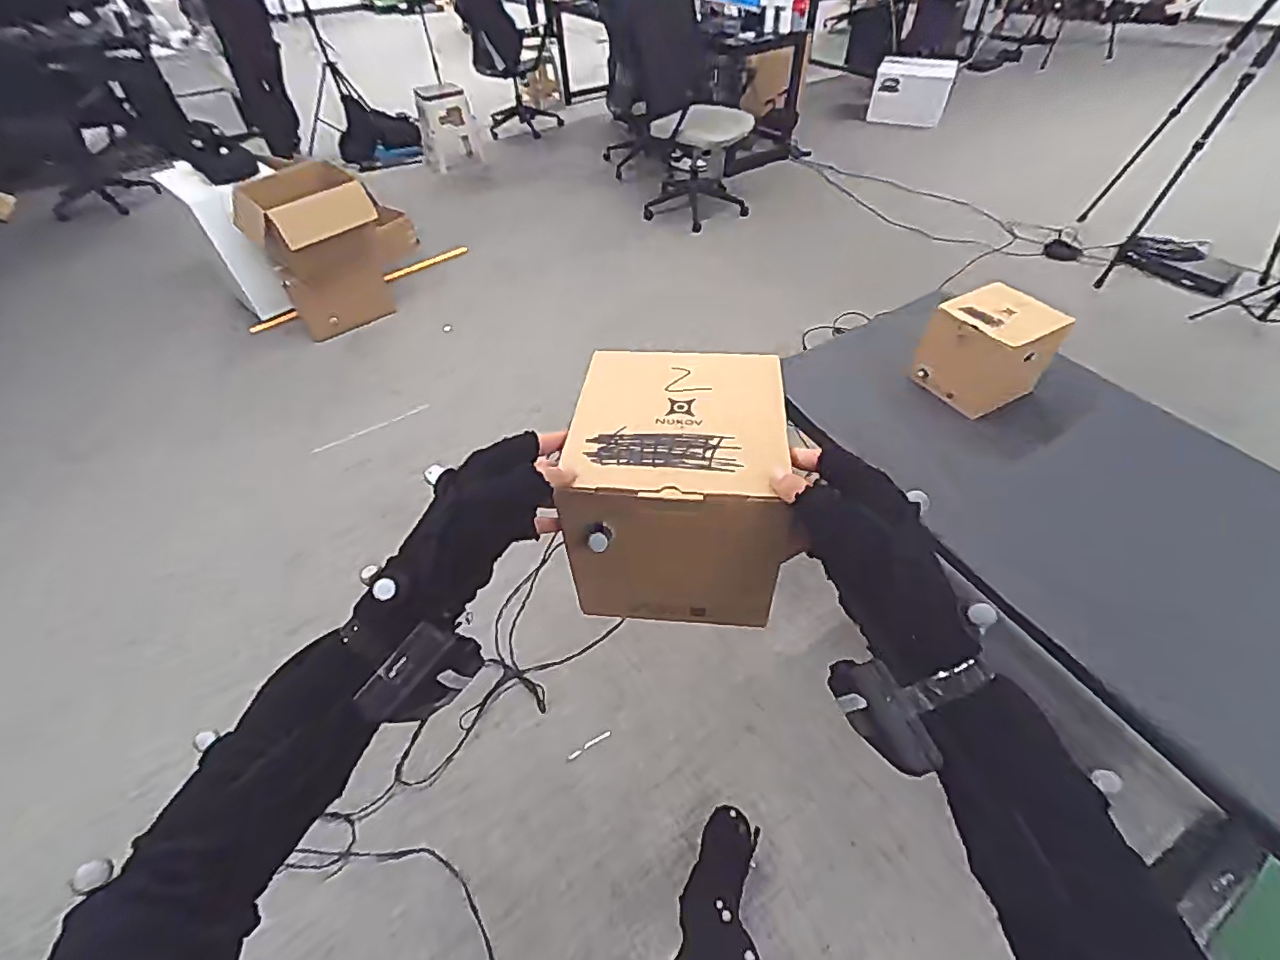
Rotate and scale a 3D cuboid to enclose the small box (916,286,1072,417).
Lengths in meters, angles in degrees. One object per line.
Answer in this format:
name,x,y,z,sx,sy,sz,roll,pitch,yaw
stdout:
small box,0.678,-0.250,1.064,0.179,0.176,0.168,-23,52,-18
